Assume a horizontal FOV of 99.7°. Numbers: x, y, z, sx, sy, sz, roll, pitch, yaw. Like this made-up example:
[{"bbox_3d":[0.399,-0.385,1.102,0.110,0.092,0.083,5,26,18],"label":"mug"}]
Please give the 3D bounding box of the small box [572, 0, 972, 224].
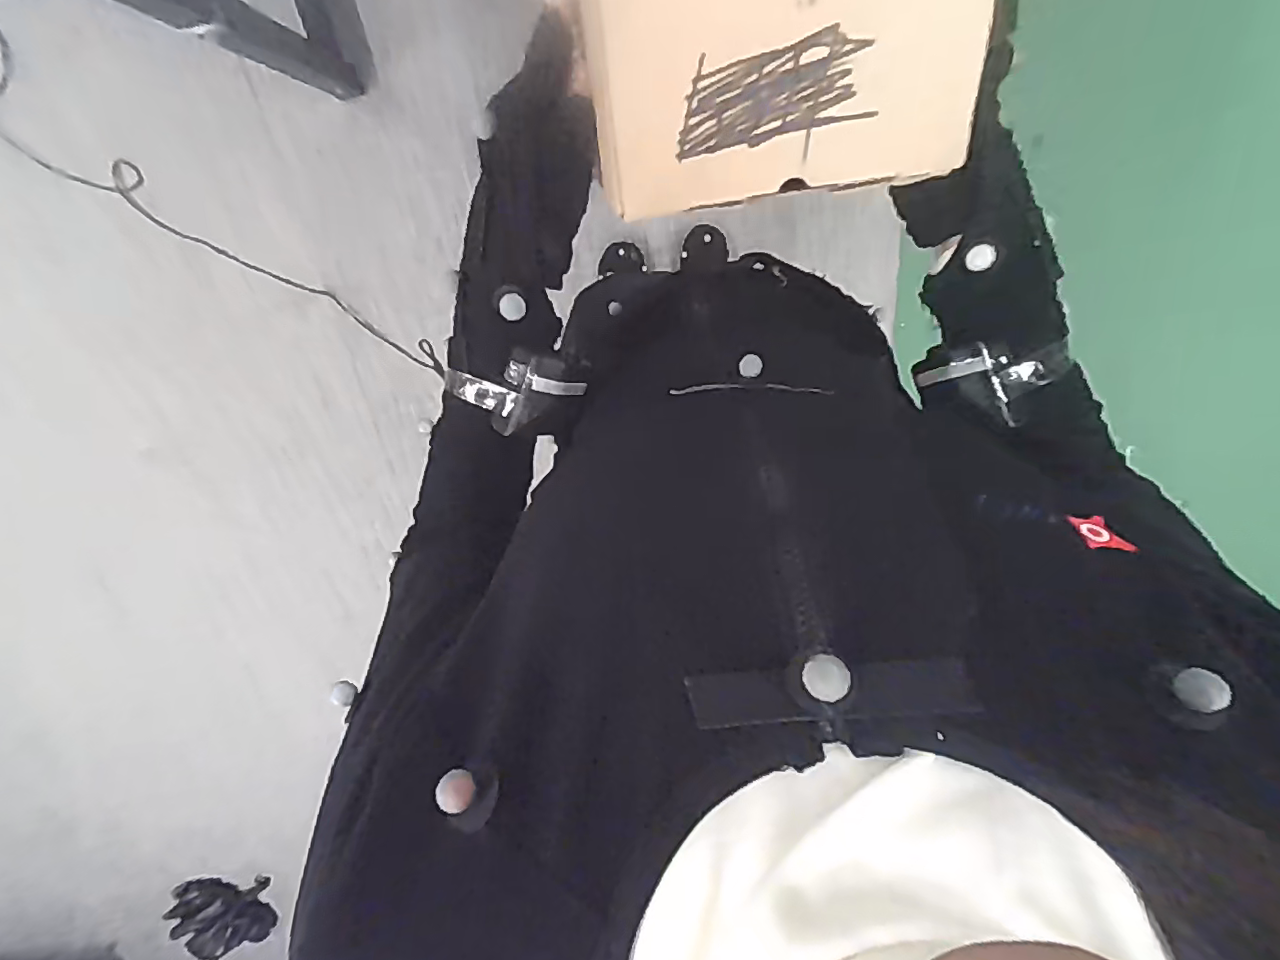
[{"bbox_3d":[0.051,-0.252,0.286,0.168,0.176,0.179,-9,125,-3],"label":"small box"}]
